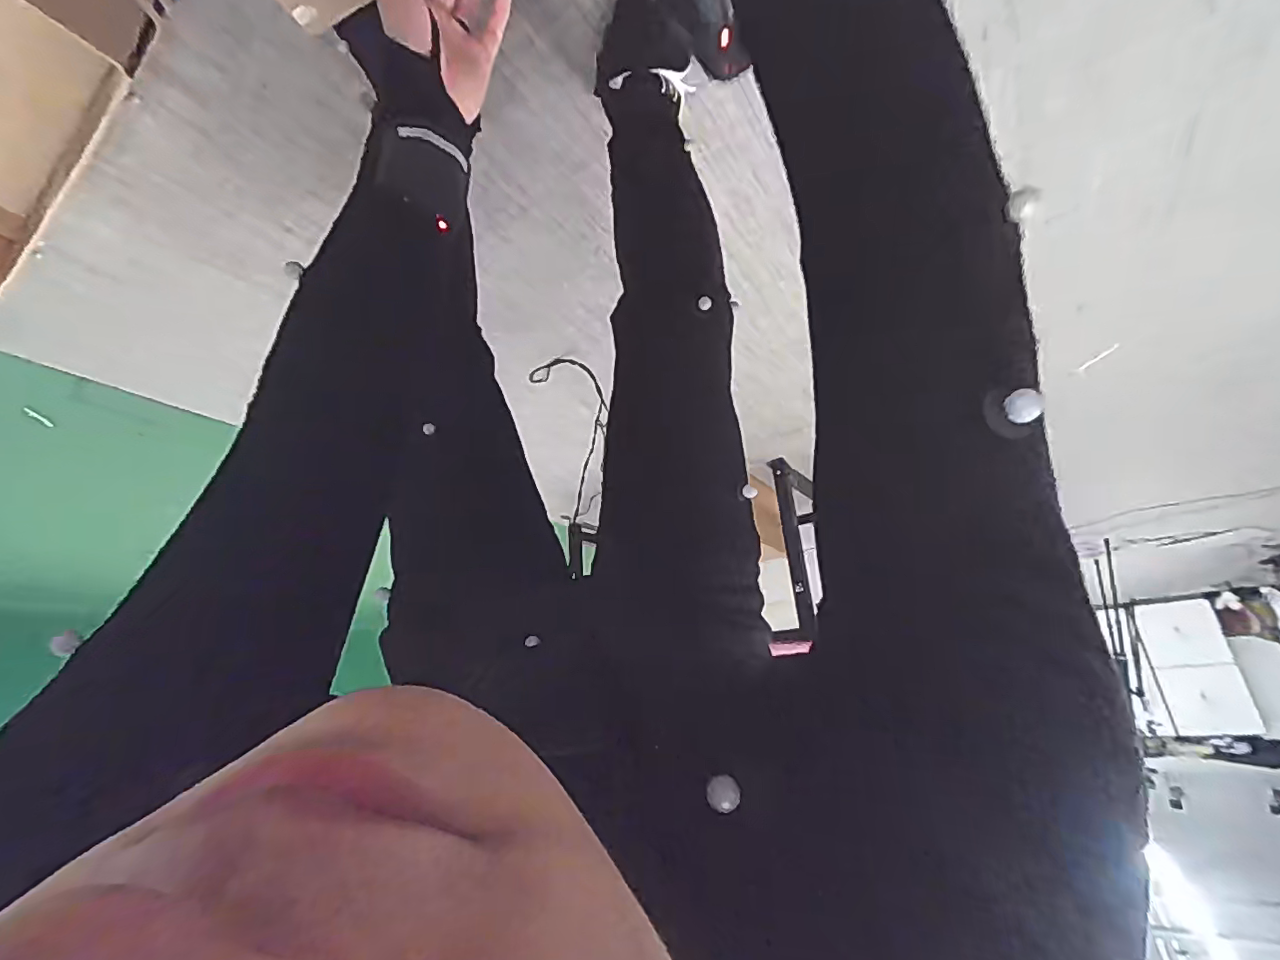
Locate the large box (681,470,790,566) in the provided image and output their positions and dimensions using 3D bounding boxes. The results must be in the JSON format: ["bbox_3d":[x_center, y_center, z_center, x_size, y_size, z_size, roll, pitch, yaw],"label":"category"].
[{"bbox_3d":[0.428,0.182,2.415,0.320,0.320,0.408,-17,156,31],"label":"large box"}]
